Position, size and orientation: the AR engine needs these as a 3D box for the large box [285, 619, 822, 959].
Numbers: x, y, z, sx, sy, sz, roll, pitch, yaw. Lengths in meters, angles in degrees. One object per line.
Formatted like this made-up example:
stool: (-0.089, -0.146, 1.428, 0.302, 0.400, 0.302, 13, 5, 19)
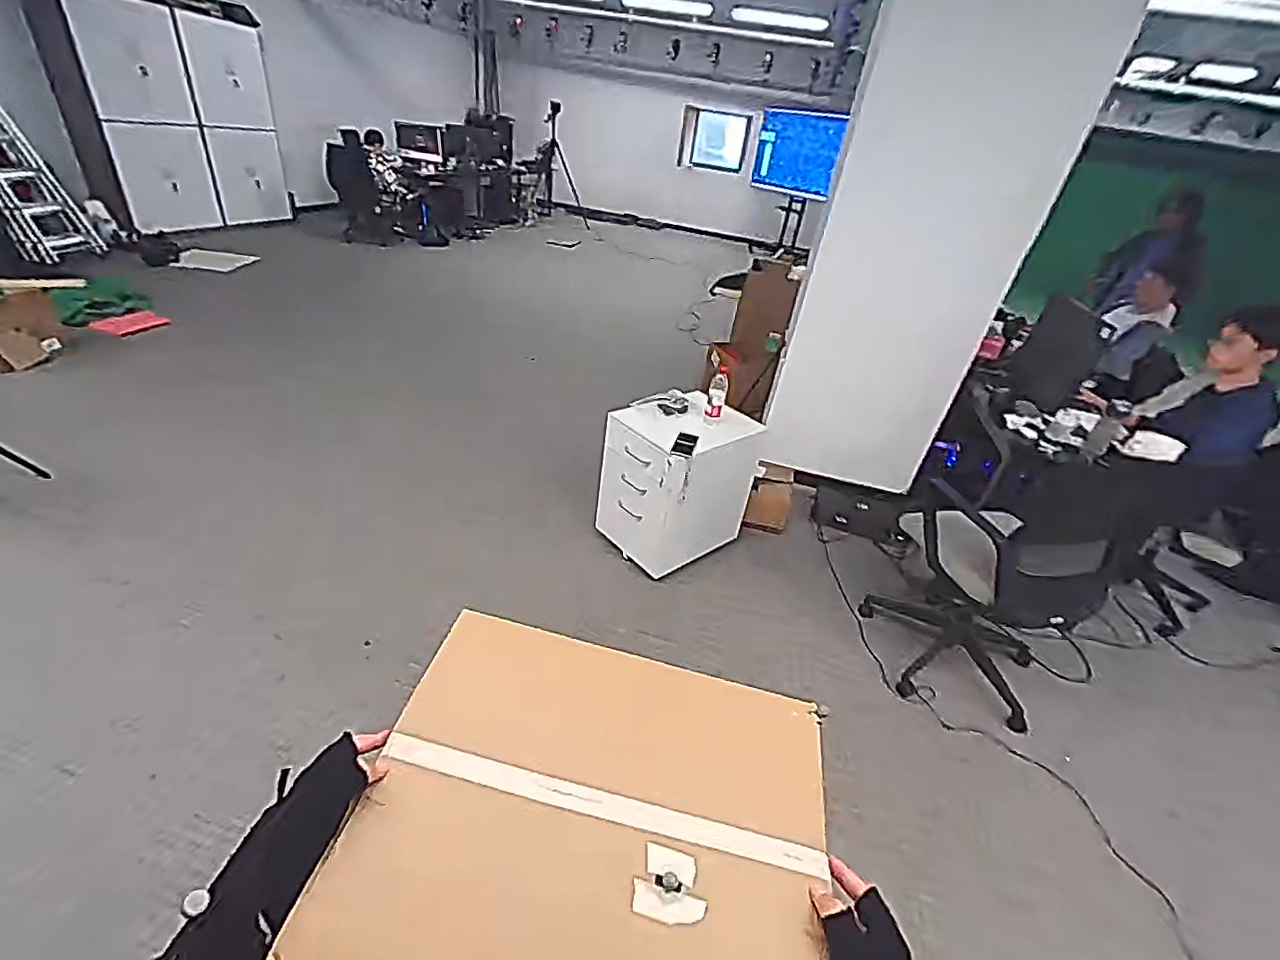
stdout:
large box: (-0.062, 0.408, 0.580, 0.408, 0.320, 0.320, 15, 39, 2)
